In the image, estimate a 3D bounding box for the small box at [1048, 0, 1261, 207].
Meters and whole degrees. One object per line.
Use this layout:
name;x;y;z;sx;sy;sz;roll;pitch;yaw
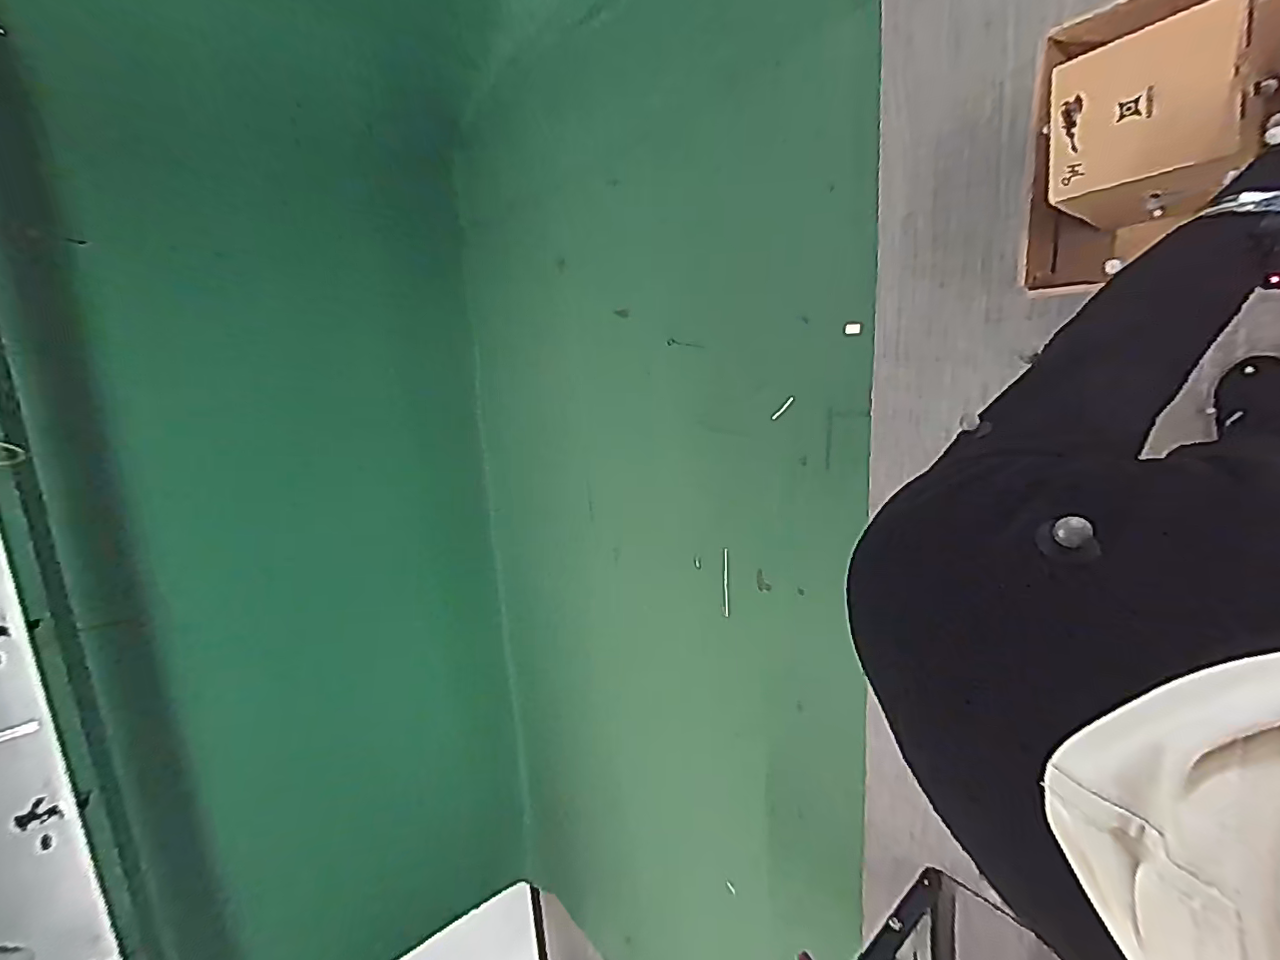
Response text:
small box;0.651;-0.467;0.688;0.179;0.176;0.168;6;105;50

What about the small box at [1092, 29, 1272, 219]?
small box;0.777;-0.496;0.789;0.179;0.176;0.168;9;107;49
